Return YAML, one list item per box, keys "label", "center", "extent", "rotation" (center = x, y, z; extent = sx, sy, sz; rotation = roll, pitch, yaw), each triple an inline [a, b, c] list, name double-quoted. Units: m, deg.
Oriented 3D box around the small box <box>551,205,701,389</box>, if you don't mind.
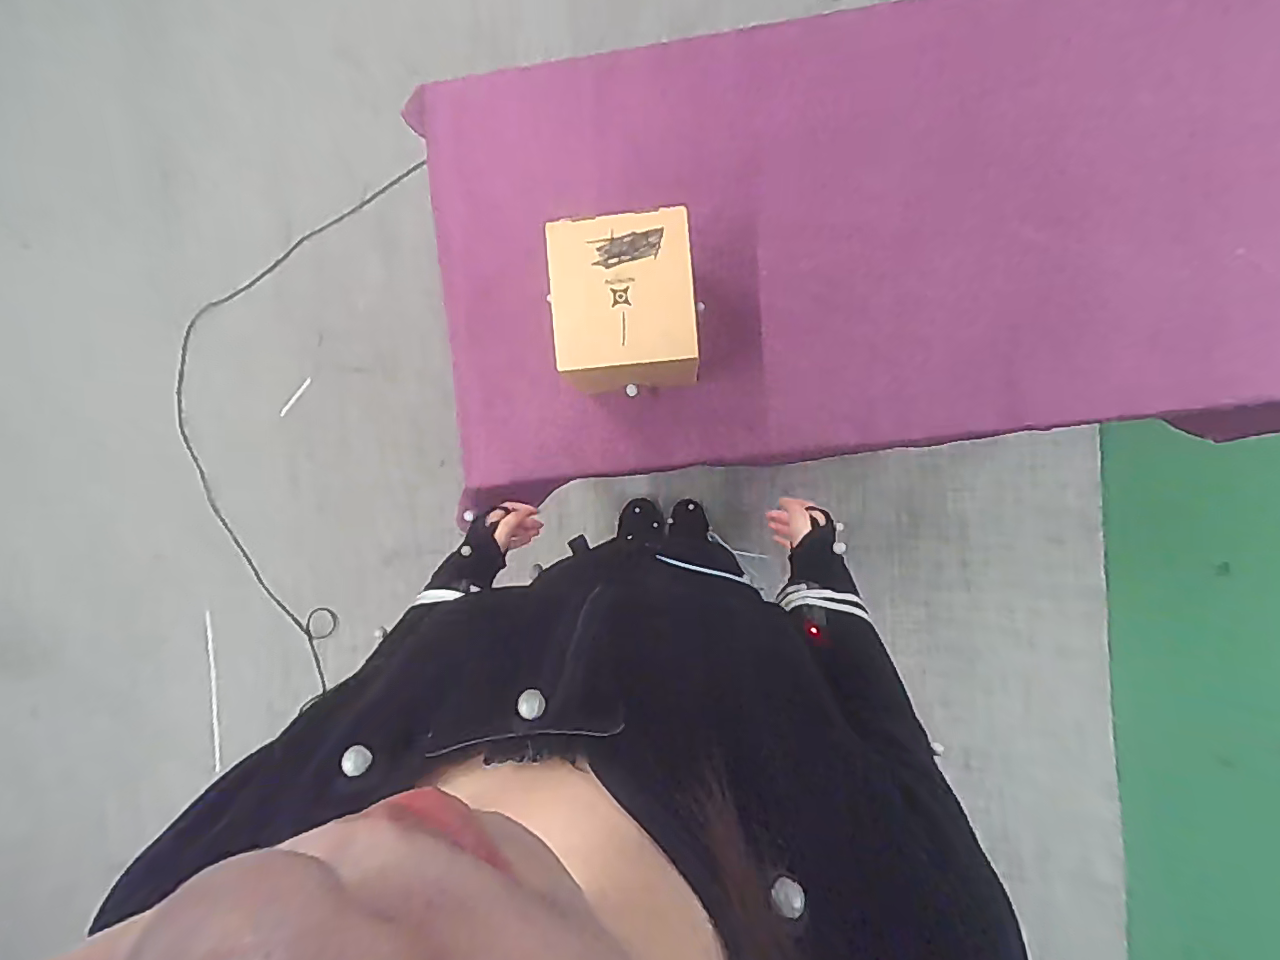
- label: "small box"
  center: [-0.012, -0.223, 0.700]
  extent: [0.168, 0.176, 0.179]
  rotation: [-4, 91, 5]
